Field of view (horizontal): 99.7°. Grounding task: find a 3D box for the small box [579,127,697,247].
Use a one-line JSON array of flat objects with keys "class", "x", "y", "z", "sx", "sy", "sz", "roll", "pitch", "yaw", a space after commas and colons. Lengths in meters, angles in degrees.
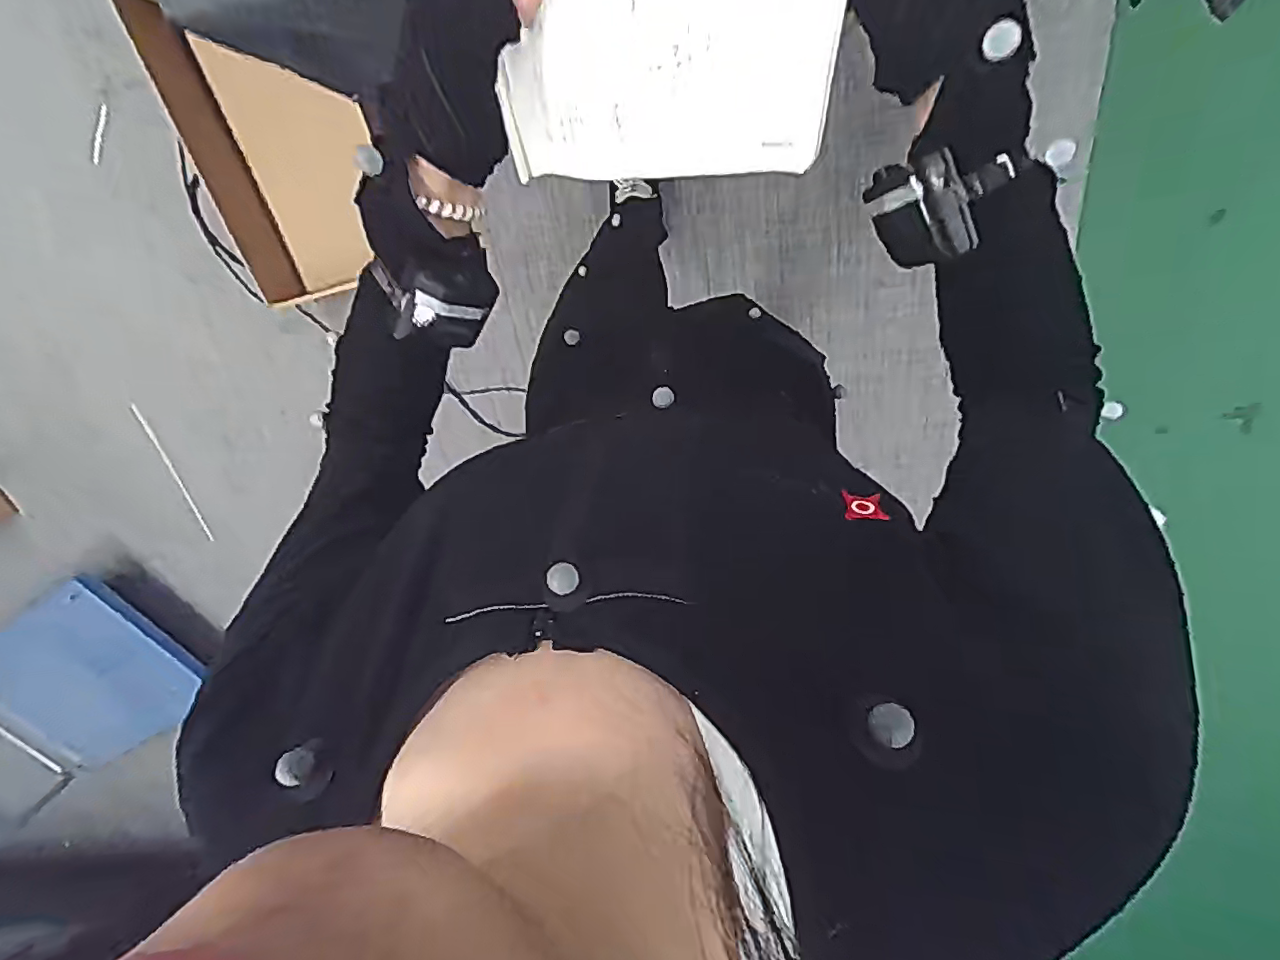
[{"class": "small box", "x": -0.010, "y": -0.635, "z": 1.181, "sx": 0.179, "sy": 0.176, "sz": 0.168, "roll": 42, "pitch": 125, "yaw": 3}]
